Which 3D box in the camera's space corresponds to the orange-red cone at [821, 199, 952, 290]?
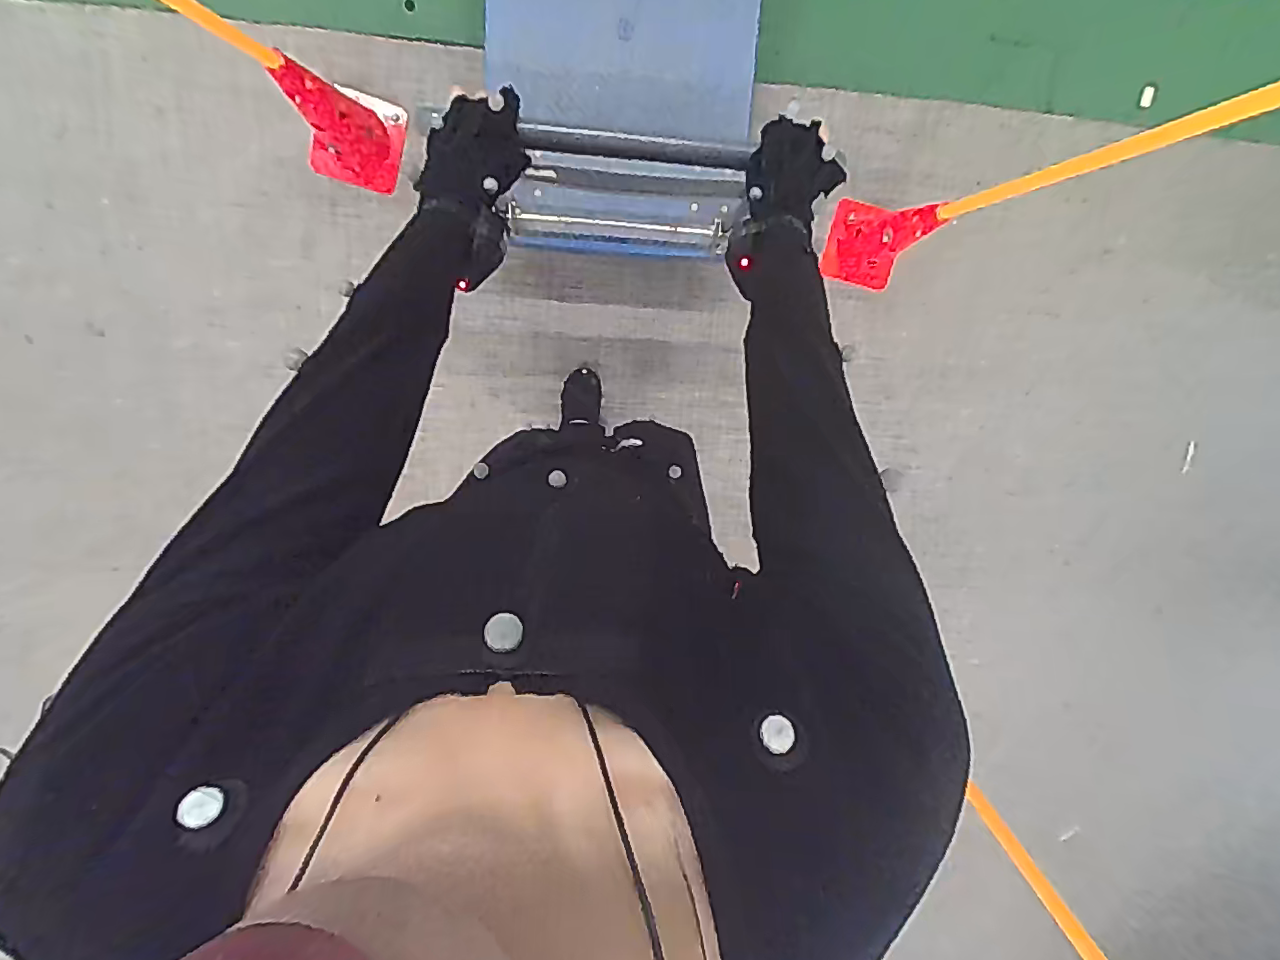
[{"bbox_3d":[0.608,-0.585,1.271,0.198,0.360,0.199,14,102,-7],"label":"orange-red cone"}]
